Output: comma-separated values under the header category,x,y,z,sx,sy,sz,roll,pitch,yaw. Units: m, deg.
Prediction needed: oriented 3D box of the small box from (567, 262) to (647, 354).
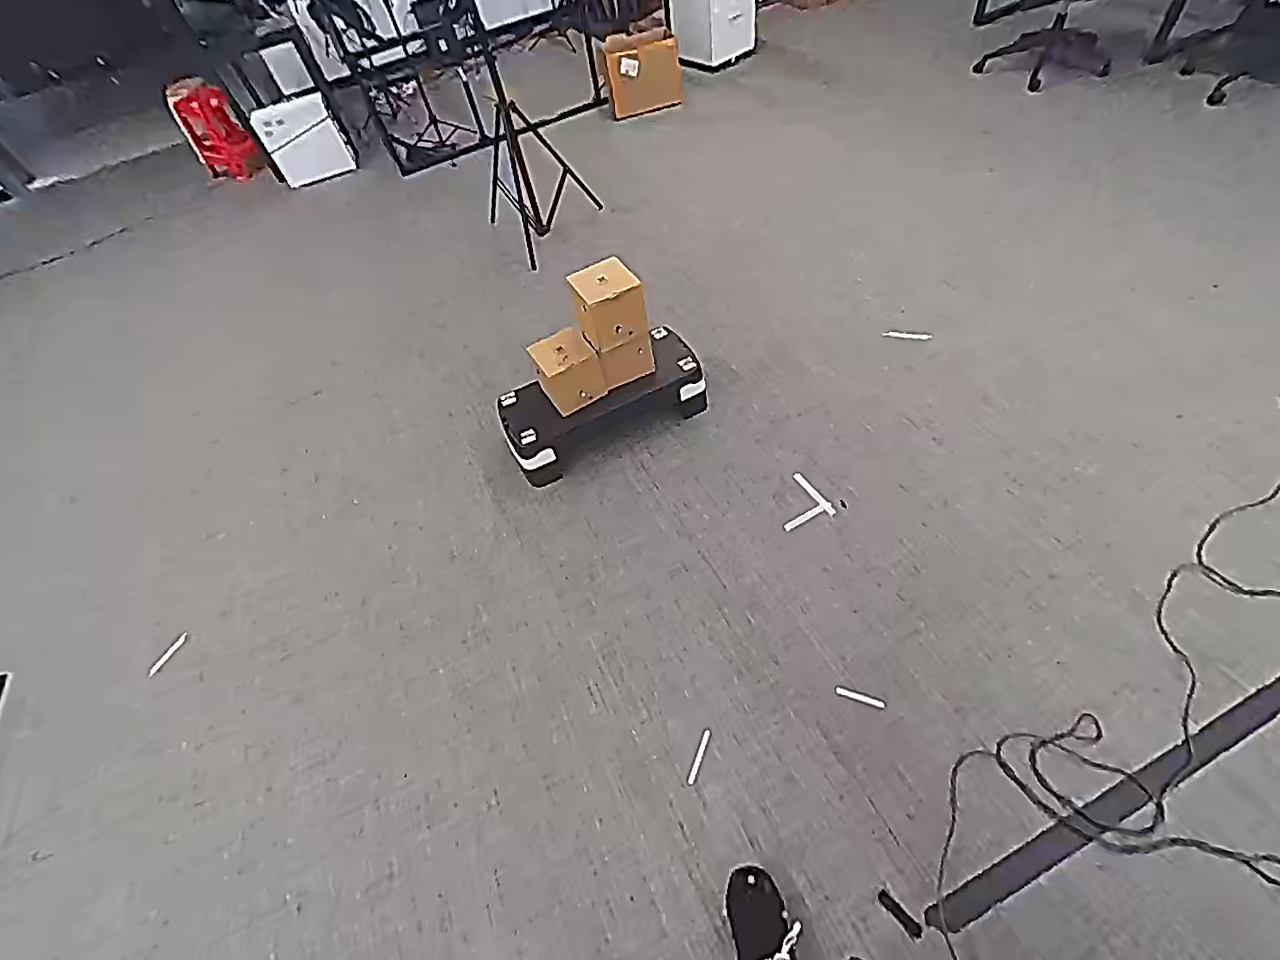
category,x,y,z,sx,sy,sz,roll,pitch,yaw
small box,-0.095,-0.506,1.599,0.168,0.176,0.179,-27,54,-11

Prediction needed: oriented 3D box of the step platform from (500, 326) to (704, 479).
category,x,y,z,sx,sy,sz,roll,pitch,yaw
step platform,-0.127,-0.278,1.858,0.684,0.204,0.286,-26,53,-9
